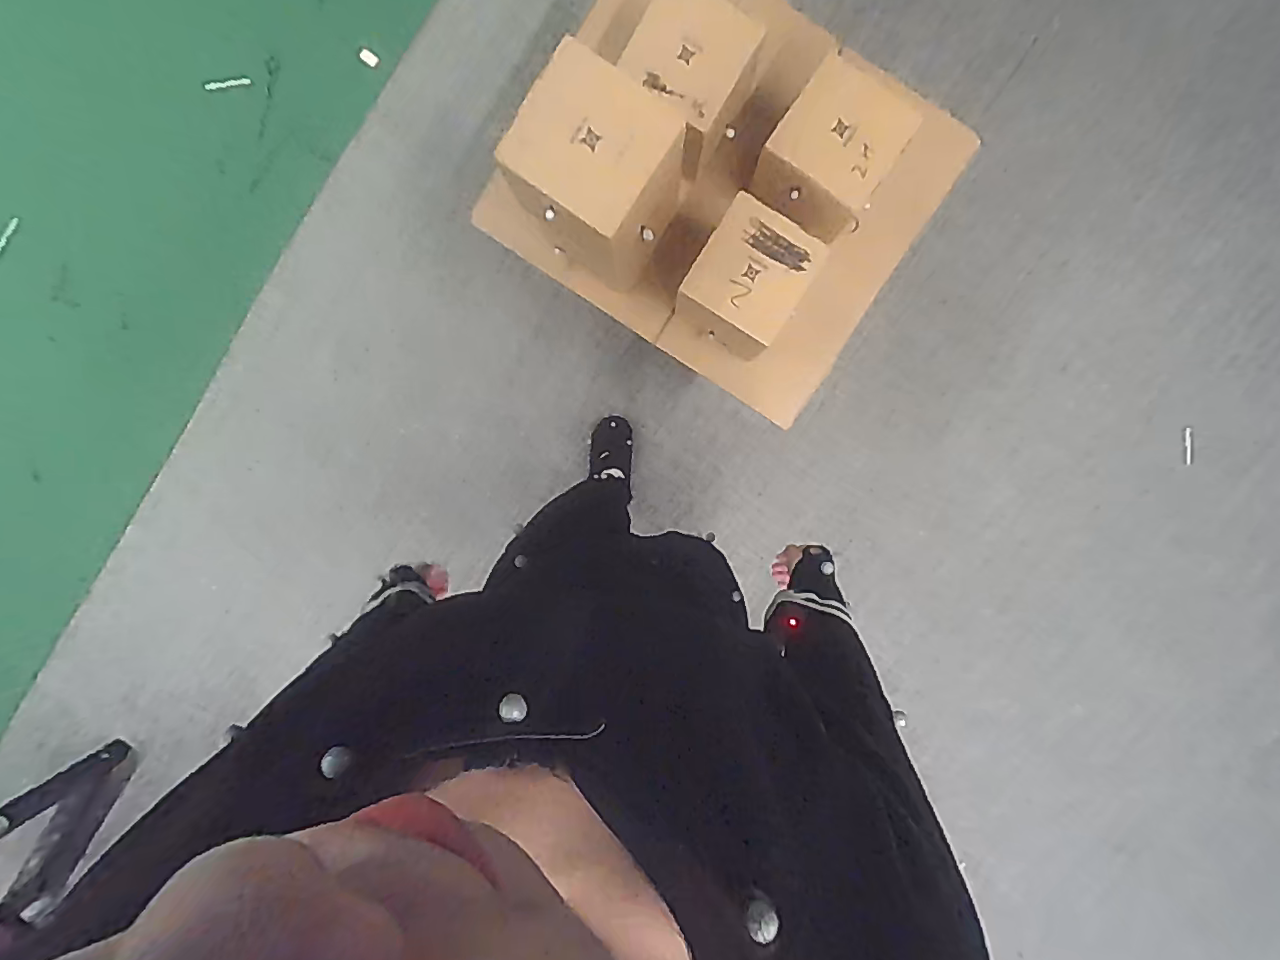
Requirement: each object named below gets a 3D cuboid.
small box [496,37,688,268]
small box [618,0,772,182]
[{"bbox_3d":[-0.056,-0.414,0.721,0.179,0.176,0.168,35,96,-2],"label":"small box"},{"bbox_3d":[0.080,-0.628,0.862,0.168,0.176,0.179,32,94,0],"label":"small box"}]
